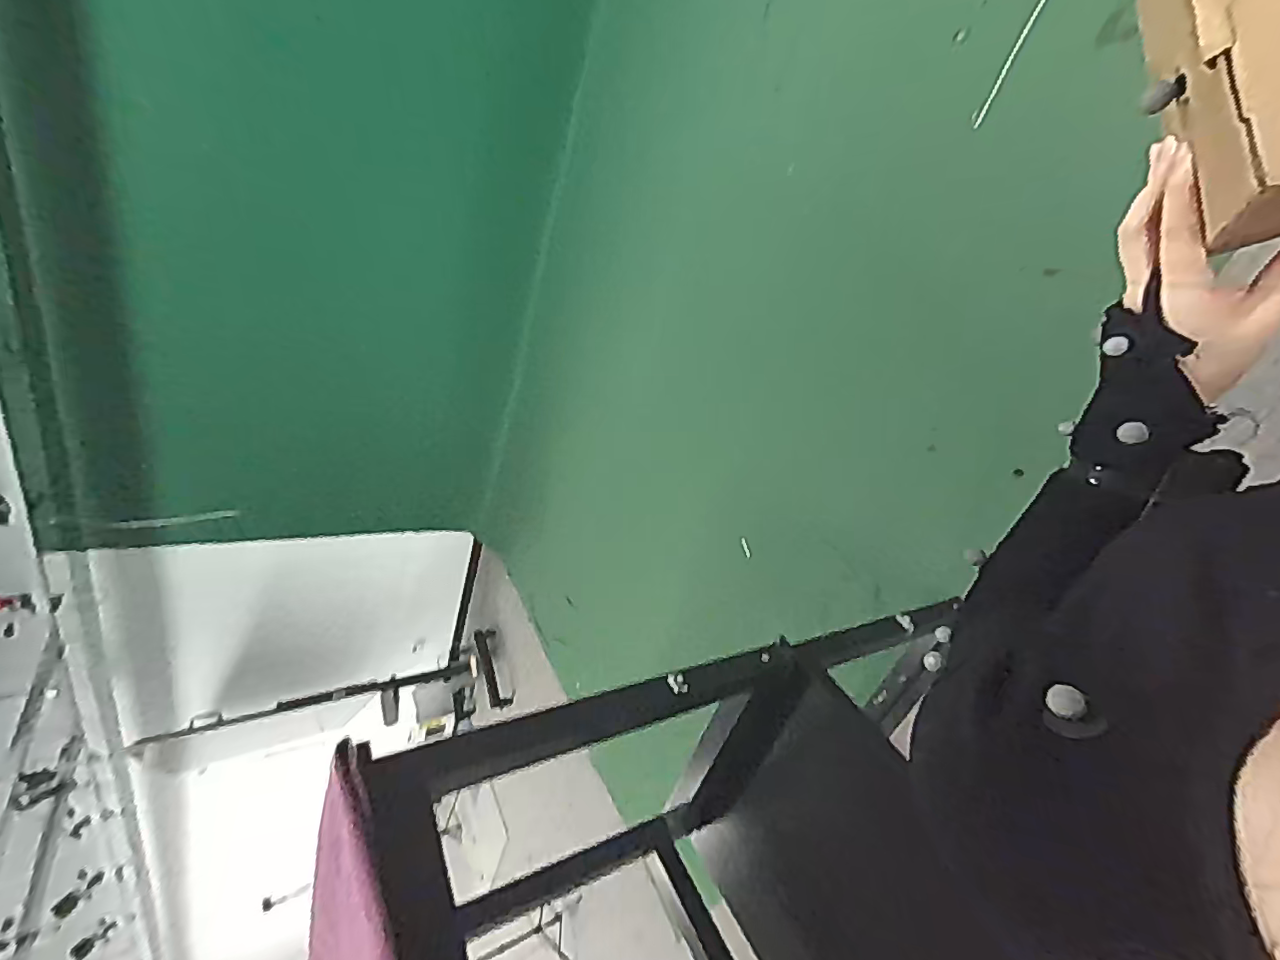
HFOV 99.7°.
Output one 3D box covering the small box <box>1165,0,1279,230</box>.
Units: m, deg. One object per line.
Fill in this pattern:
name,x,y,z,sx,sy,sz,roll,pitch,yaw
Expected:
small box,0.349,-0.230,0.223,0.179,0.176,0.168,-11,90,41
